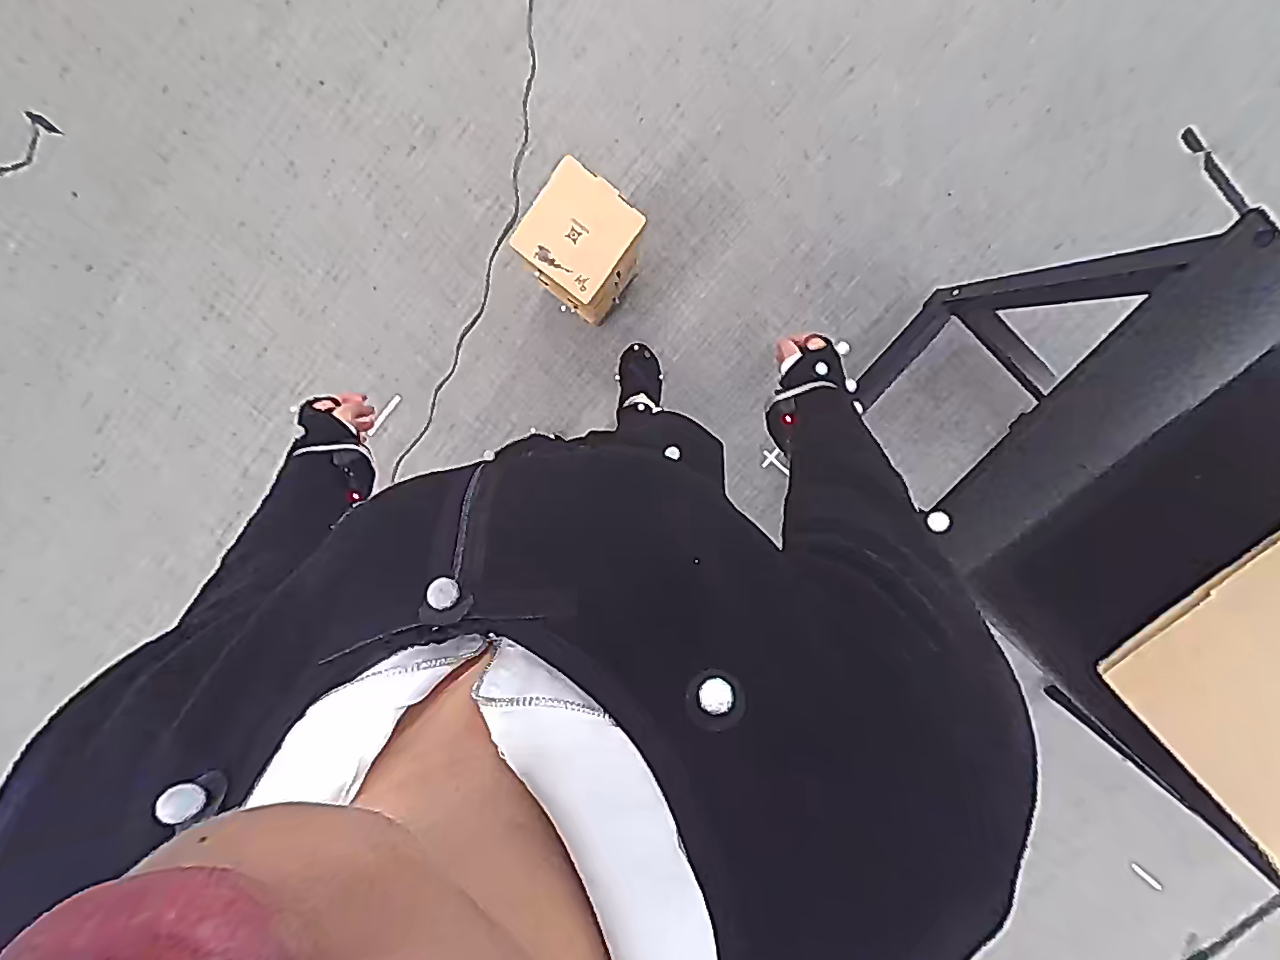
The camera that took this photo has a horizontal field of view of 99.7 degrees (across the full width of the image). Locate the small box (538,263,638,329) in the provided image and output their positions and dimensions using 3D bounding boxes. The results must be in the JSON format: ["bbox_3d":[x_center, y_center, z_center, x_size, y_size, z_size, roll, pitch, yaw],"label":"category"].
[{"bbox_3d":[-0.122,-0.485,1.302,0.168,0.176,0.179,37,100,-8],"label":"small box"}]

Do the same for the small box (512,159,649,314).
[{"bbox_3d":[-0.104,-0.427,0.980,0.168,0.176,0.179,37,98,-8],"label":"small box"}]

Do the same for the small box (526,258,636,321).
[{"bbox_3d":[-0.116,-0.455,1.143,0.168,0.176,0.179,33,98,-9],"label":"small box"}]
